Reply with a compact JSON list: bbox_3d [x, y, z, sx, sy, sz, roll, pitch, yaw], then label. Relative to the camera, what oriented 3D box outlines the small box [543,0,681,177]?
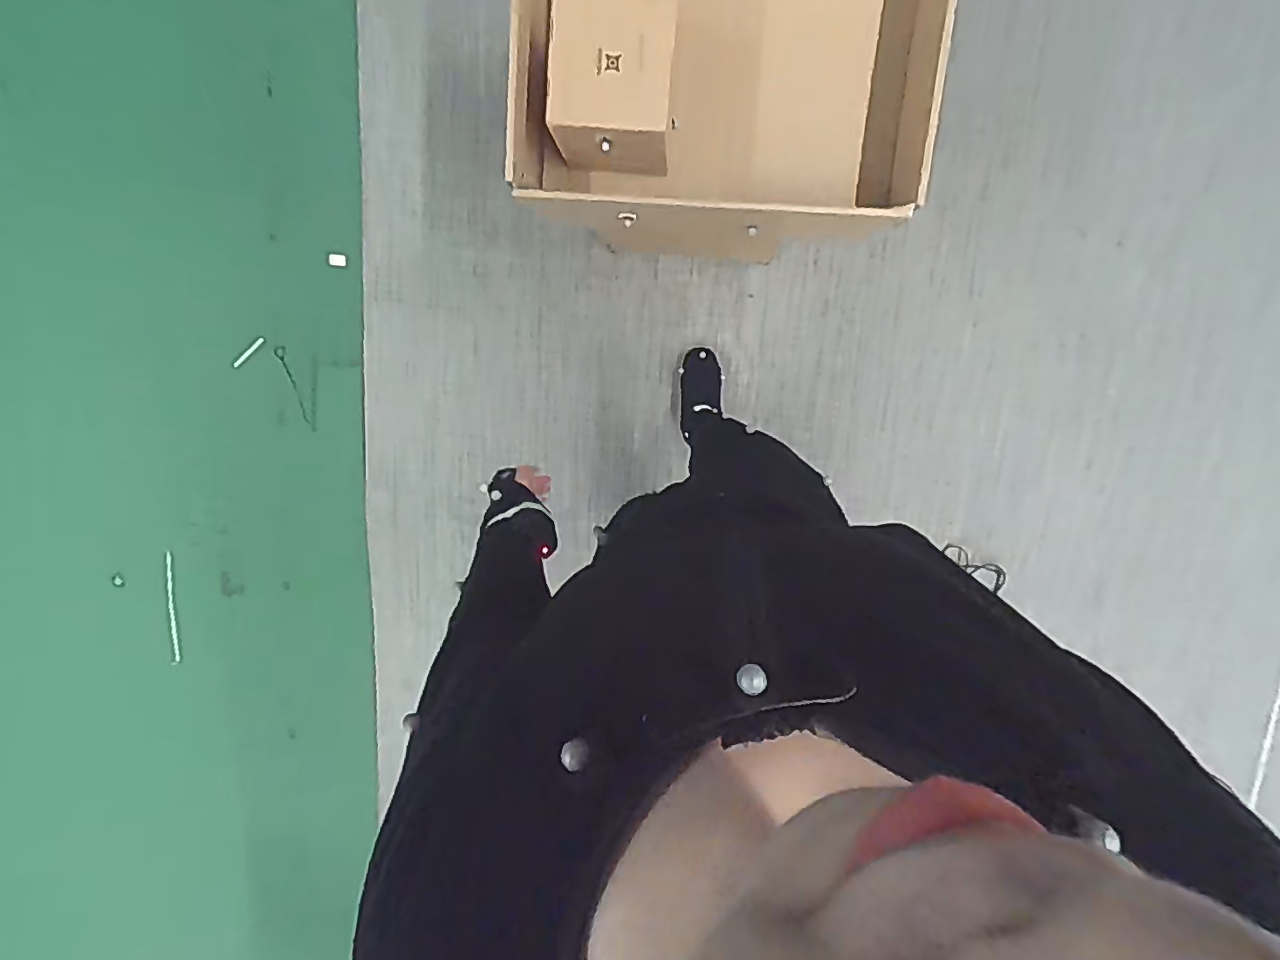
[{"bbox_3d":[-0.035,-0.586,0.830,0.179,0.176,0.168,7,100,5],"label":"small box"}]
